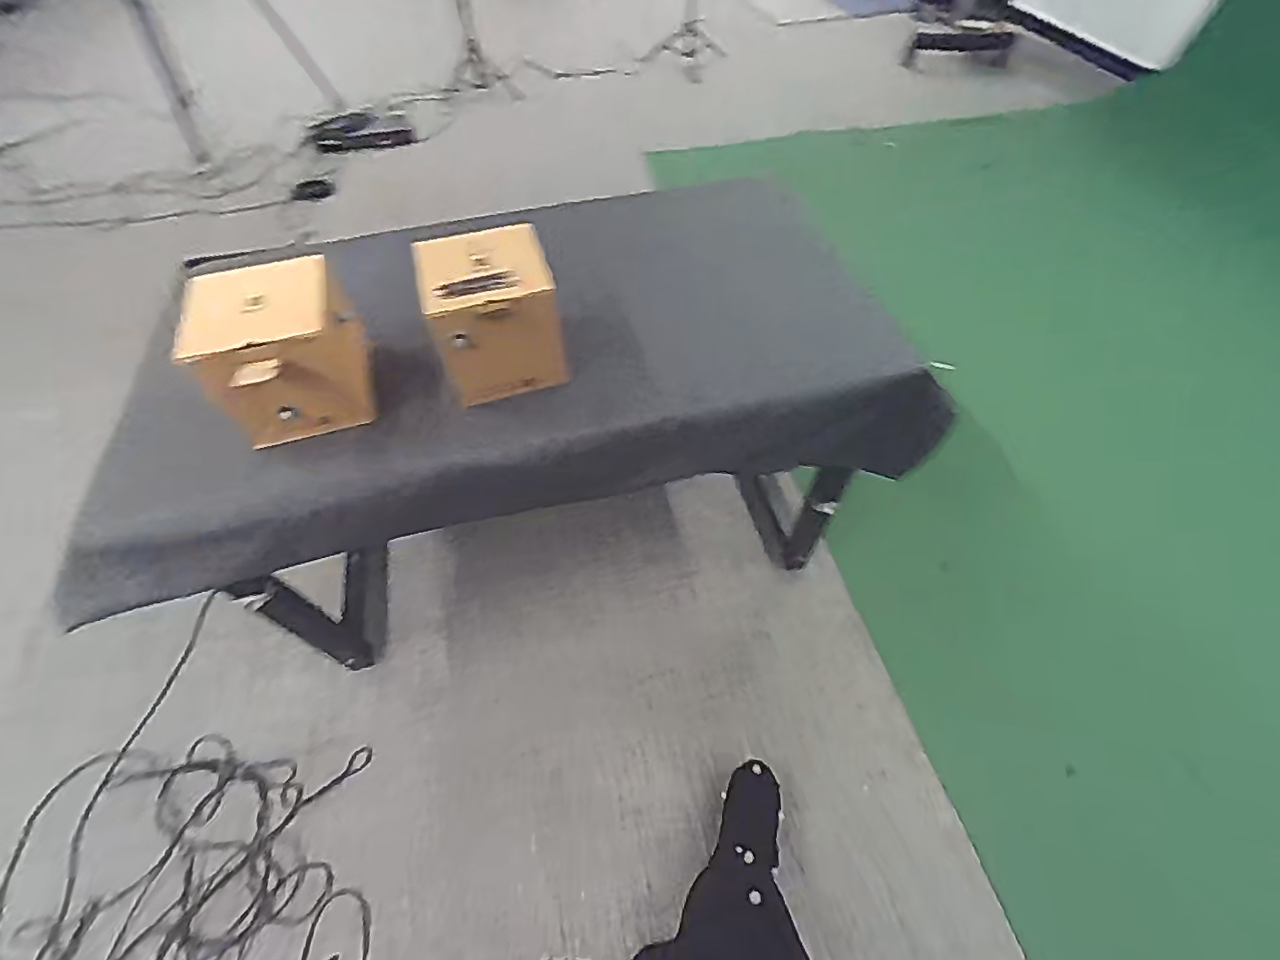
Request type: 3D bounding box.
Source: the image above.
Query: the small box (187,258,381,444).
[{"bbox_3d":[-0.482,-0.180,0.762,0.168,0.176,0.179,-15,56,-11],"label":"small box"}]
